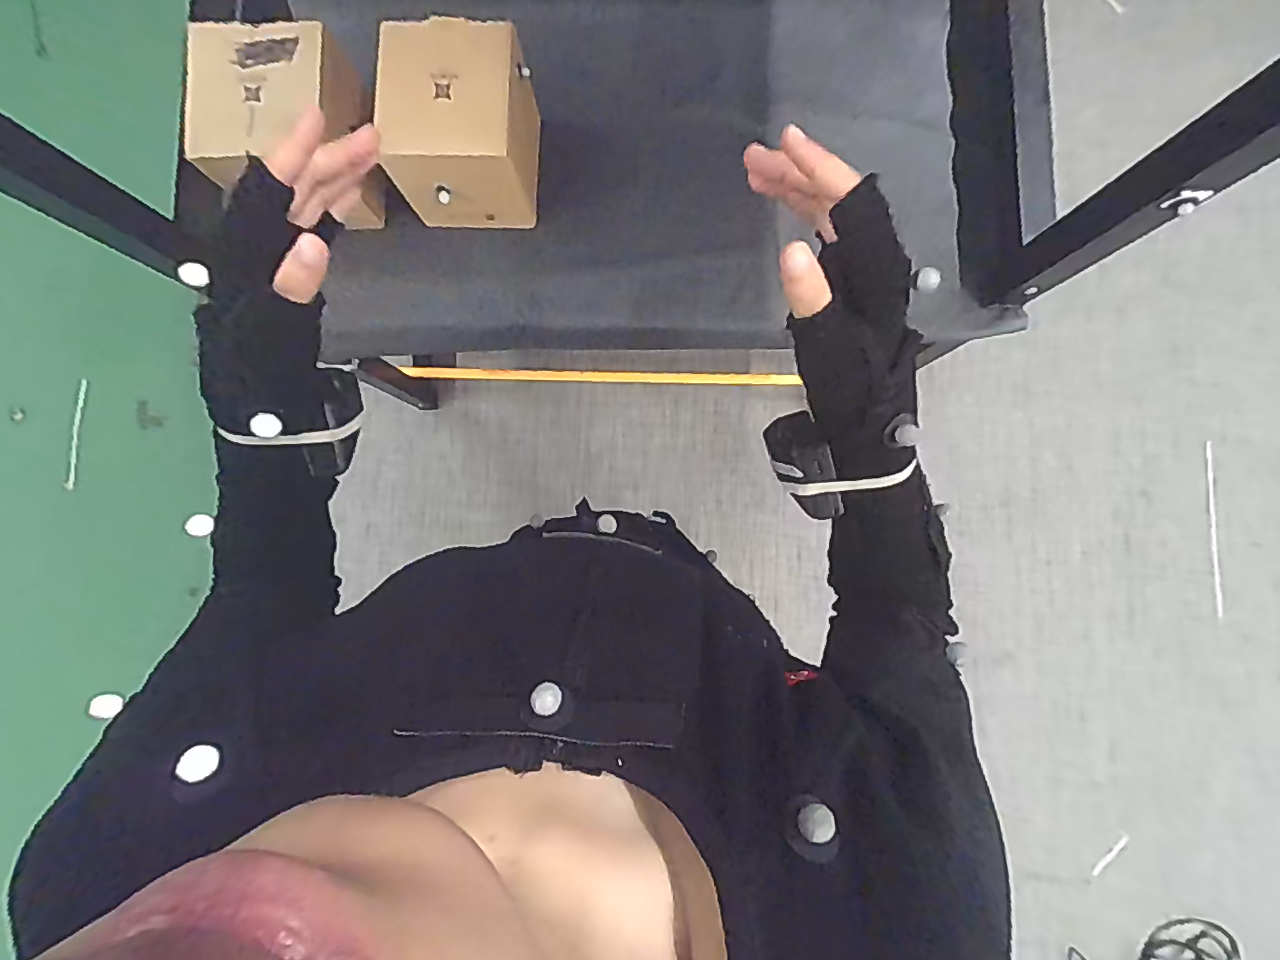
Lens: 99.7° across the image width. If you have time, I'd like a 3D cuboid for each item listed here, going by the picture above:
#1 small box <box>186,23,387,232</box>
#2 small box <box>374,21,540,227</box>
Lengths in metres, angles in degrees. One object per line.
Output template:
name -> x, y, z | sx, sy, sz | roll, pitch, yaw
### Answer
small box -> -0.461, -0.463, 0.731 | 0.168, 0.176, 0.179 | -1, 86, 1
small box -> -0.234, -0.465, 0.731 | 0.168, 0.176, 0.179 | 1, 84, 1
